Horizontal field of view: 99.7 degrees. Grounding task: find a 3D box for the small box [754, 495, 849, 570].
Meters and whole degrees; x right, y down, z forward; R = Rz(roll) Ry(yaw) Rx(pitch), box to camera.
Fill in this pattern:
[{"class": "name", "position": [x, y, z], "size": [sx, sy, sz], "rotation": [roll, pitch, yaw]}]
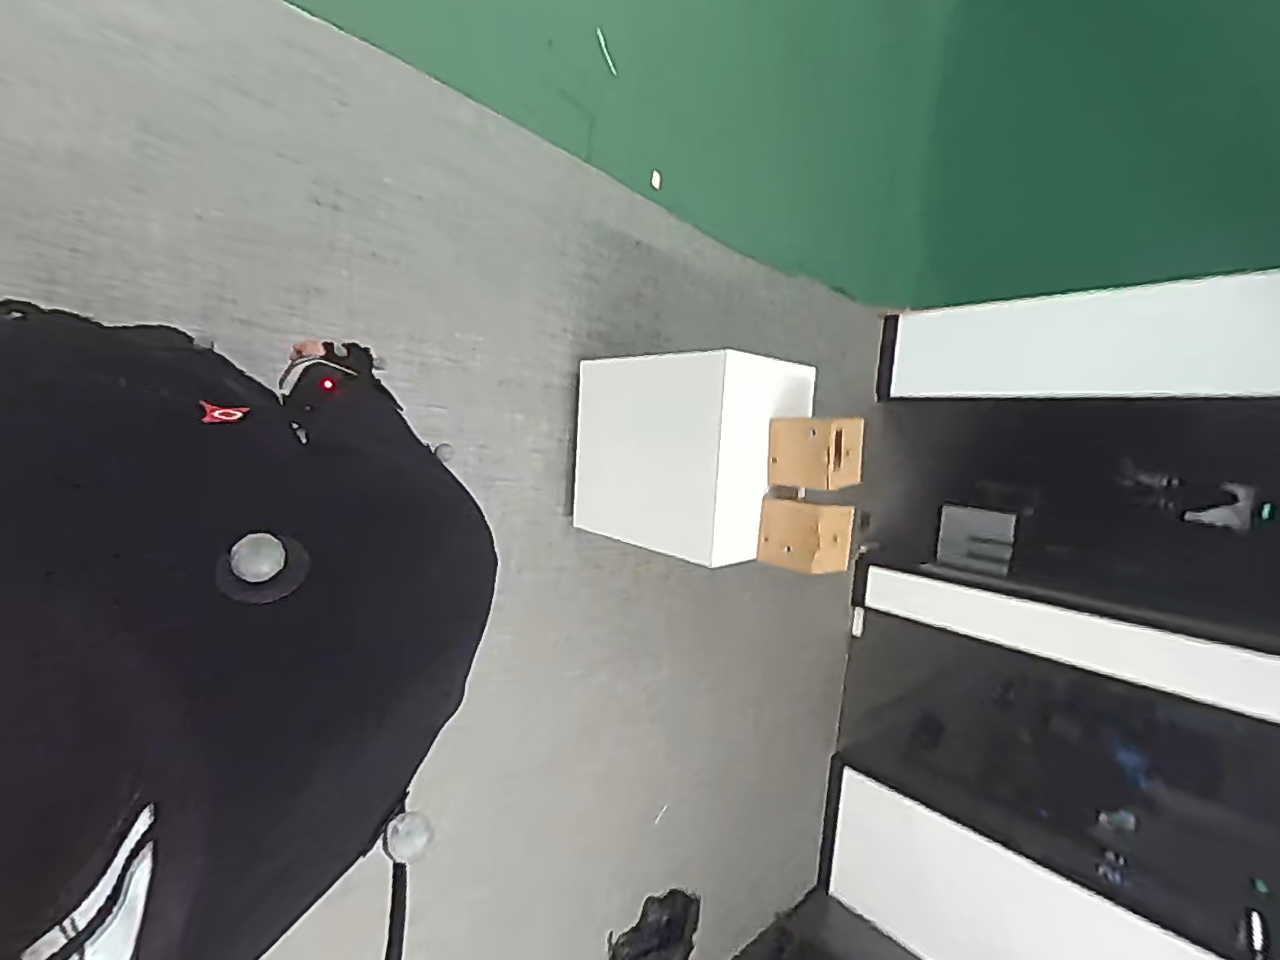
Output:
[{"class": "small box", "position": [0.413, 0.131, 1.395], "size": [0.179, 0.176, 0.168], "rotation": [2, 95, -44]}]
